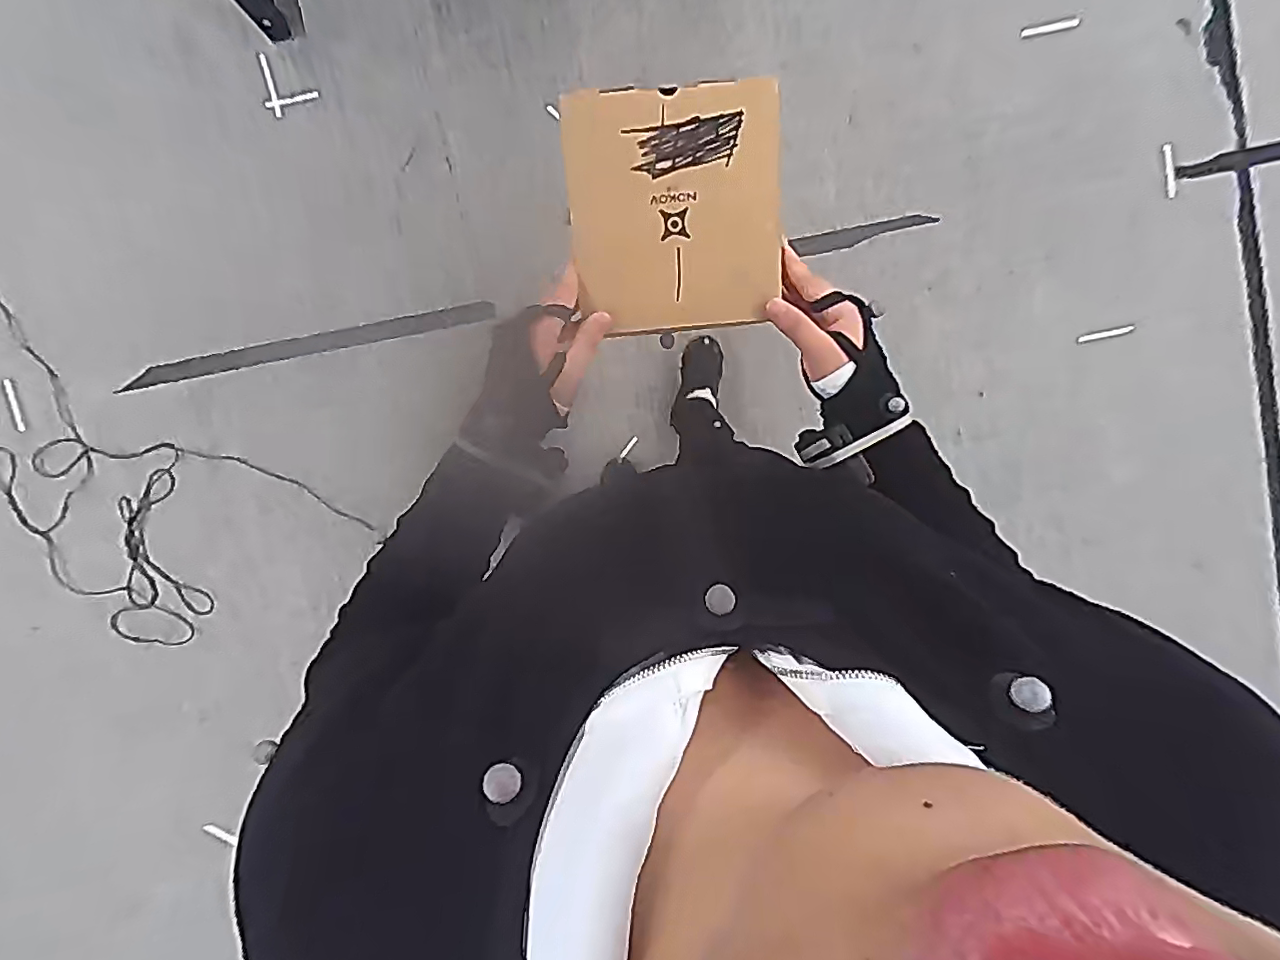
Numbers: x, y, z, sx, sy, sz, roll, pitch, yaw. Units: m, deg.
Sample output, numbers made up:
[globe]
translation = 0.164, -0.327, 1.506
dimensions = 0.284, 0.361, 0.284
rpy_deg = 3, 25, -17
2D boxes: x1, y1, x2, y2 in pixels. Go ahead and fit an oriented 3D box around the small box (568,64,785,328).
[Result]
[small box]
translation = 0.030, -0.239, 0.499
dimensions = 0.168, 0.176, 0.179
rpy_deg = -5, 105, 1
